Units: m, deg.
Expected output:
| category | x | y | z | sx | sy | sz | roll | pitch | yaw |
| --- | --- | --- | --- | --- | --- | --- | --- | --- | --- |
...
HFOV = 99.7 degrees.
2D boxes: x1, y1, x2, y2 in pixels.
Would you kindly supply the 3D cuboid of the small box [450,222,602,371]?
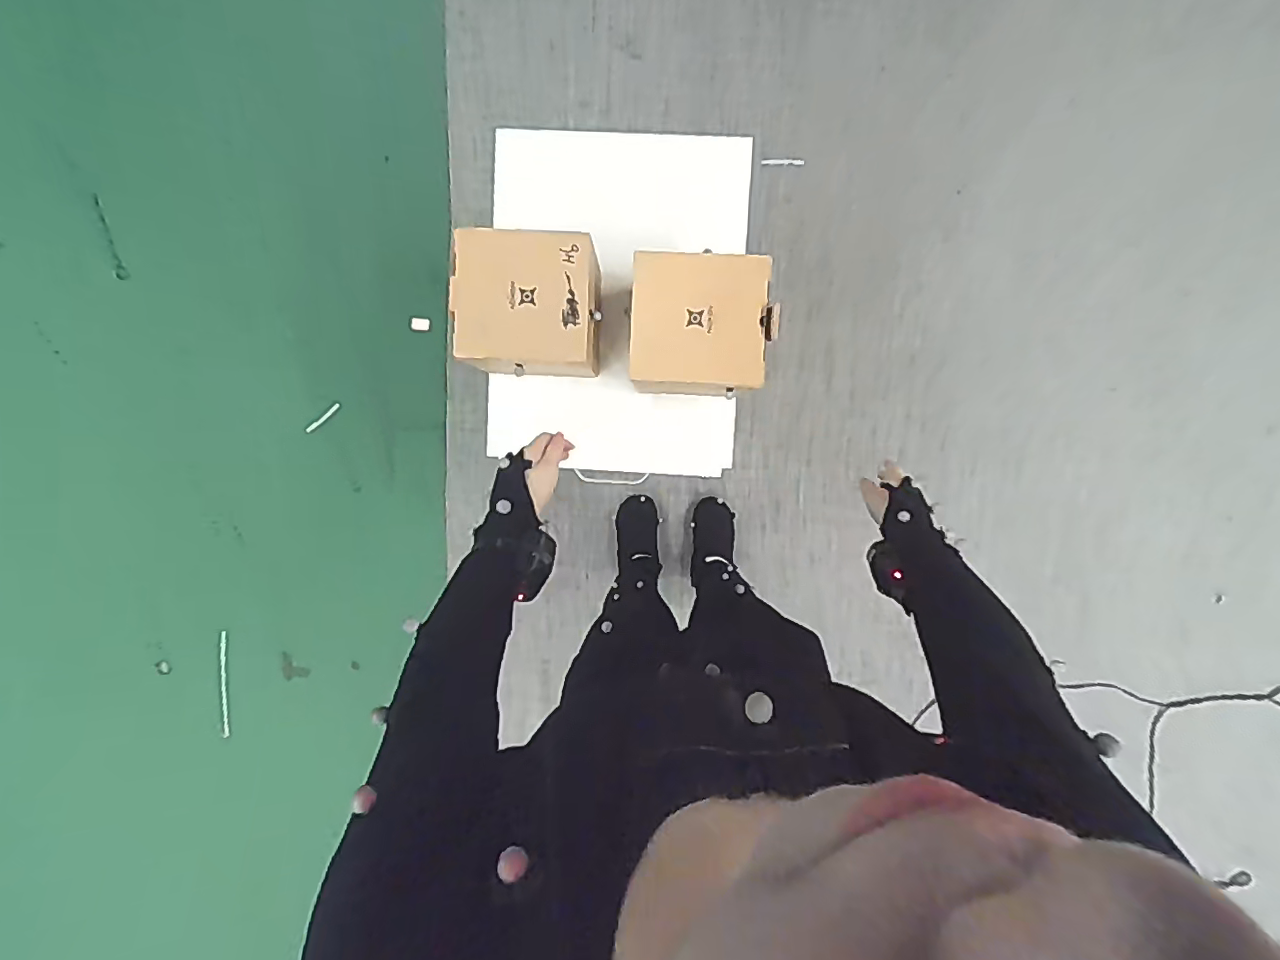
| category | x | y | z | sx | sy | sz | roll | pitch | yaw |
| --- | --- | --- | --- | --- | --- | --- | --- | --- | --- |
| small box | -0.152 | -0.248 | 0.766 | 0.179 | 0.176 | 0.168 | 2 | 95 | 1 |
